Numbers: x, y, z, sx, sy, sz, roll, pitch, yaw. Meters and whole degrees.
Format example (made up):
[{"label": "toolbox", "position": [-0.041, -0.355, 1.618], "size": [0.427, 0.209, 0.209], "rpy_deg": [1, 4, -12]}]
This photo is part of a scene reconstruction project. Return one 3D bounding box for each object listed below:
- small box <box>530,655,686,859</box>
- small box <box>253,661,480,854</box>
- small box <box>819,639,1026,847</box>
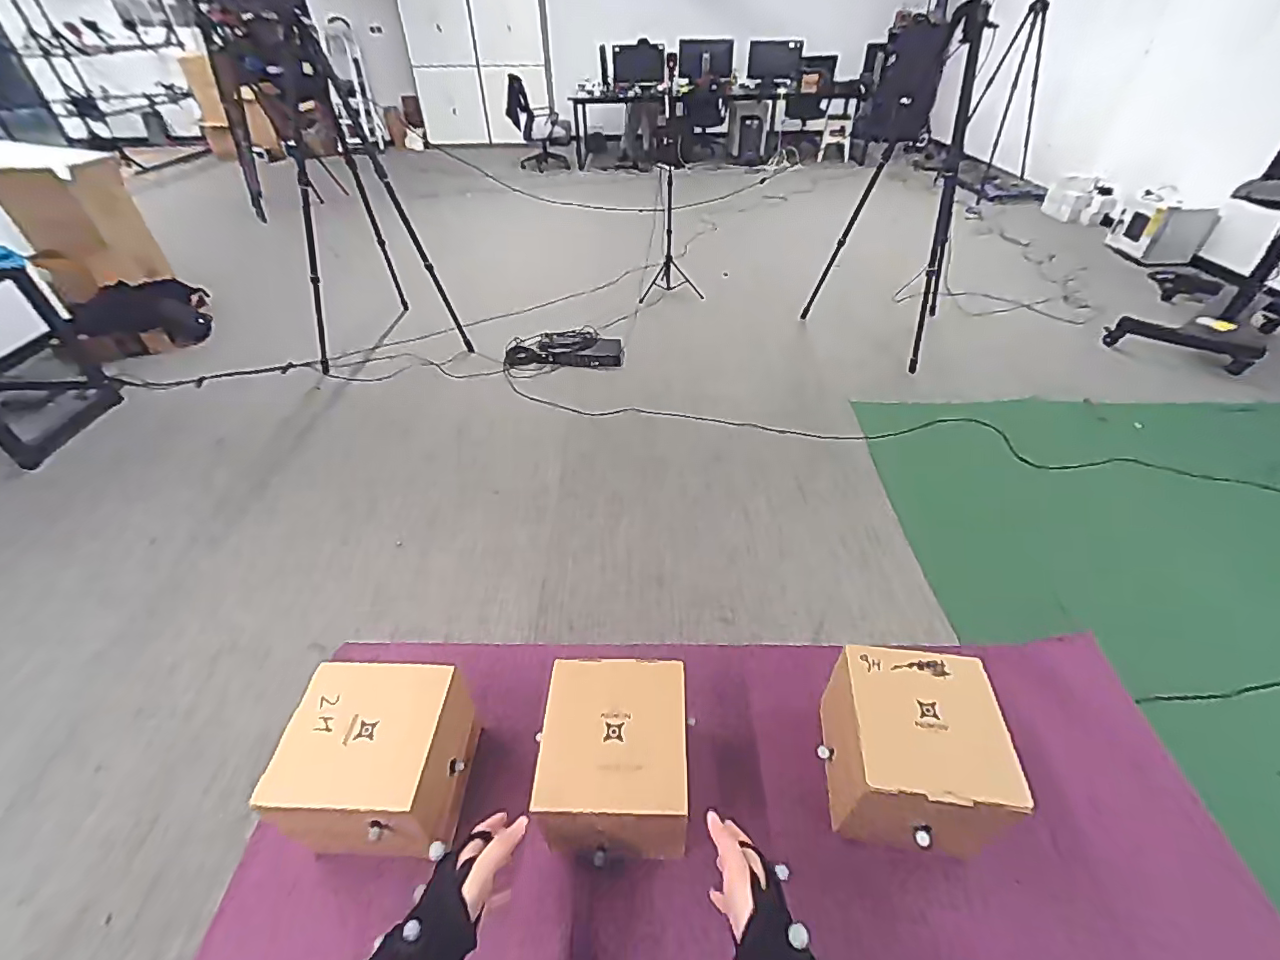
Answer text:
[{"label": "small box", "position": [-0.029, 0.342, 0.674], "size": [0.168, 0.176, 0.179], "rpy_deg": [0, 42, 3]}, {"label": "small box", "position": [-0.317, 0.347, 0.677], "size": [0.179, 0.176, 0.168], "rpy_deg": [1, 41, 3]}, {"label": "small box", "position": [0.327, 0.327, 0.671], "size": [0.168, 0.176, 0.179], "rpy_deg": [5, 43, 7]}]
